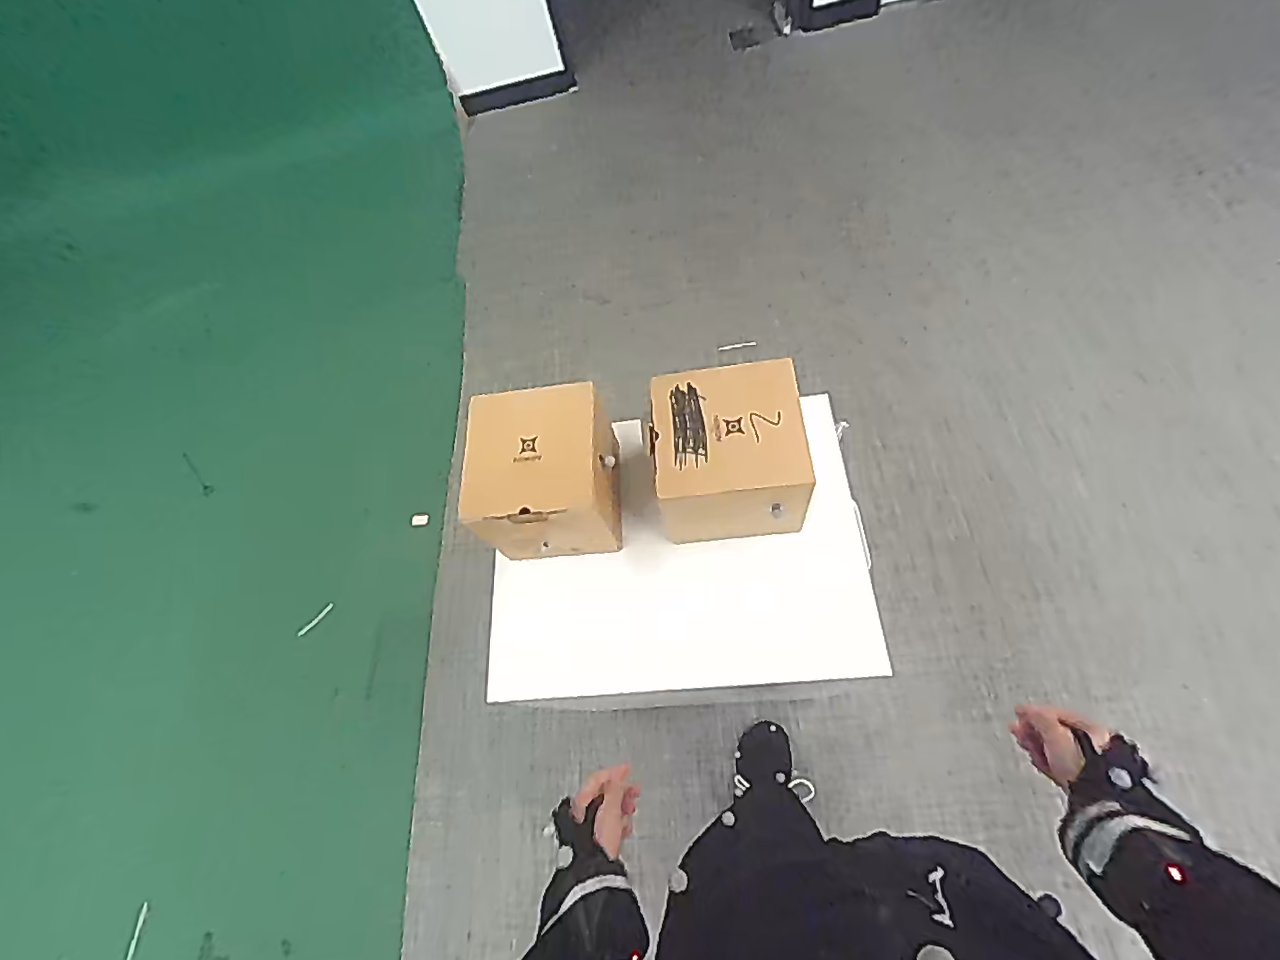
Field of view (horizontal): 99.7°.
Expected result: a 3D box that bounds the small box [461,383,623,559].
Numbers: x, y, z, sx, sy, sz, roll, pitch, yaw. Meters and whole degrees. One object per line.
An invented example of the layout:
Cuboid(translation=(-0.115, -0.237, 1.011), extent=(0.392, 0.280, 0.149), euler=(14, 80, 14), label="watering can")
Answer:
Cuboid(translation=(-0.119, -0.005, 0.728), extent=(0.168, 0.176, 0.179), euler=(-6, 65, 7), label="small box")
